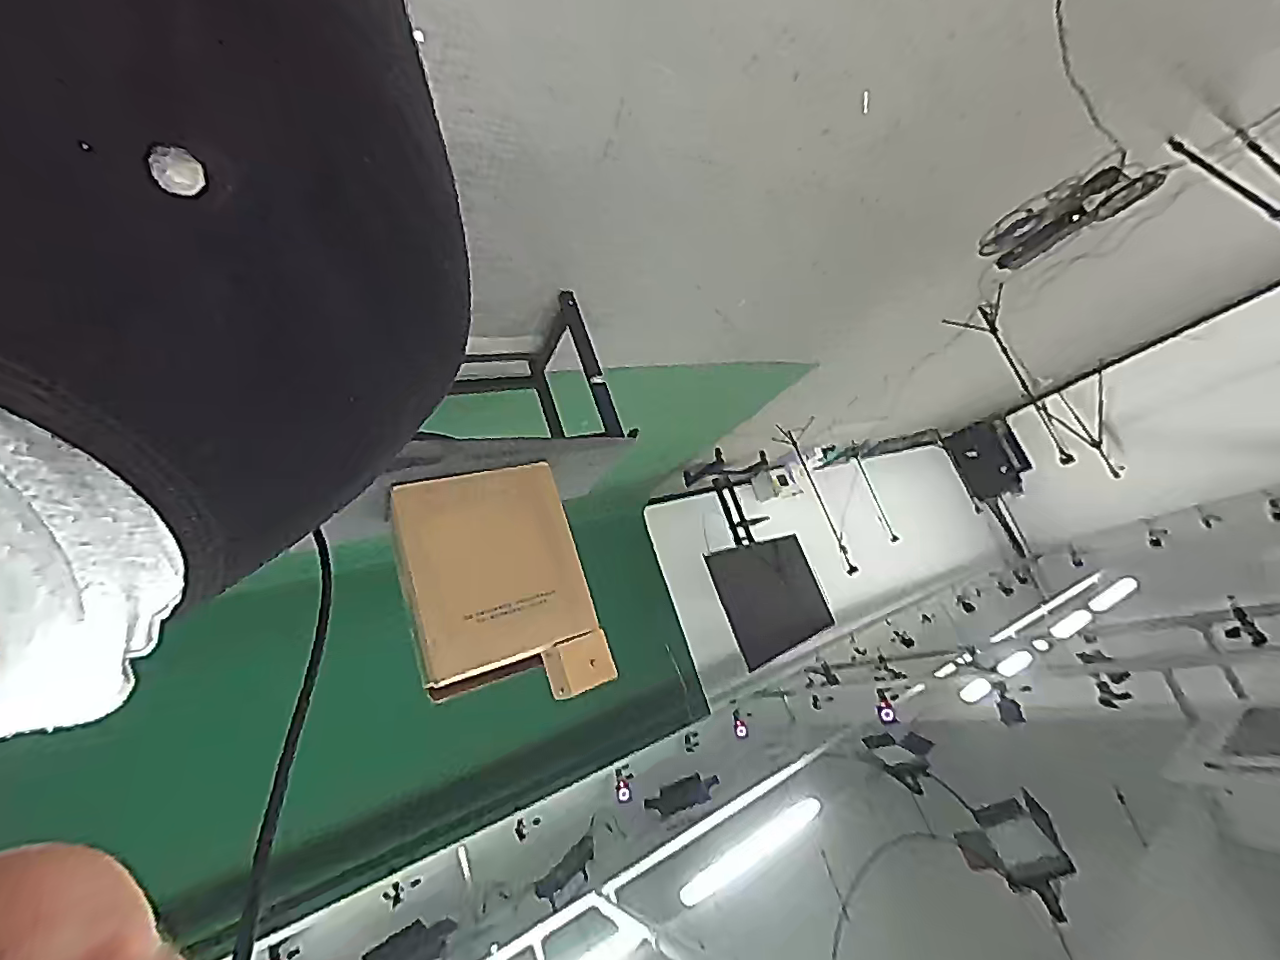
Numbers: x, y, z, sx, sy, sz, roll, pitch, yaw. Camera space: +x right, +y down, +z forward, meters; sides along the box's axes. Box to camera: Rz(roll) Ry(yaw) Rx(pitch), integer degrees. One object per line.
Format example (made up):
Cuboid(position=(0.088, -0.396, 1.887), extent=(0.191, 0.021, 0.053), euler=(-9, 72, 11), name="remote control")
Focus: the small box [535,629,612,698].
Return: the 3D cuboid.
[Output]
Cuboid(position=(-0.230, 0.622, 1.840), extent=(0.179, 0.176, 0.168), euler=(-13, 163, -35), name="small box")
